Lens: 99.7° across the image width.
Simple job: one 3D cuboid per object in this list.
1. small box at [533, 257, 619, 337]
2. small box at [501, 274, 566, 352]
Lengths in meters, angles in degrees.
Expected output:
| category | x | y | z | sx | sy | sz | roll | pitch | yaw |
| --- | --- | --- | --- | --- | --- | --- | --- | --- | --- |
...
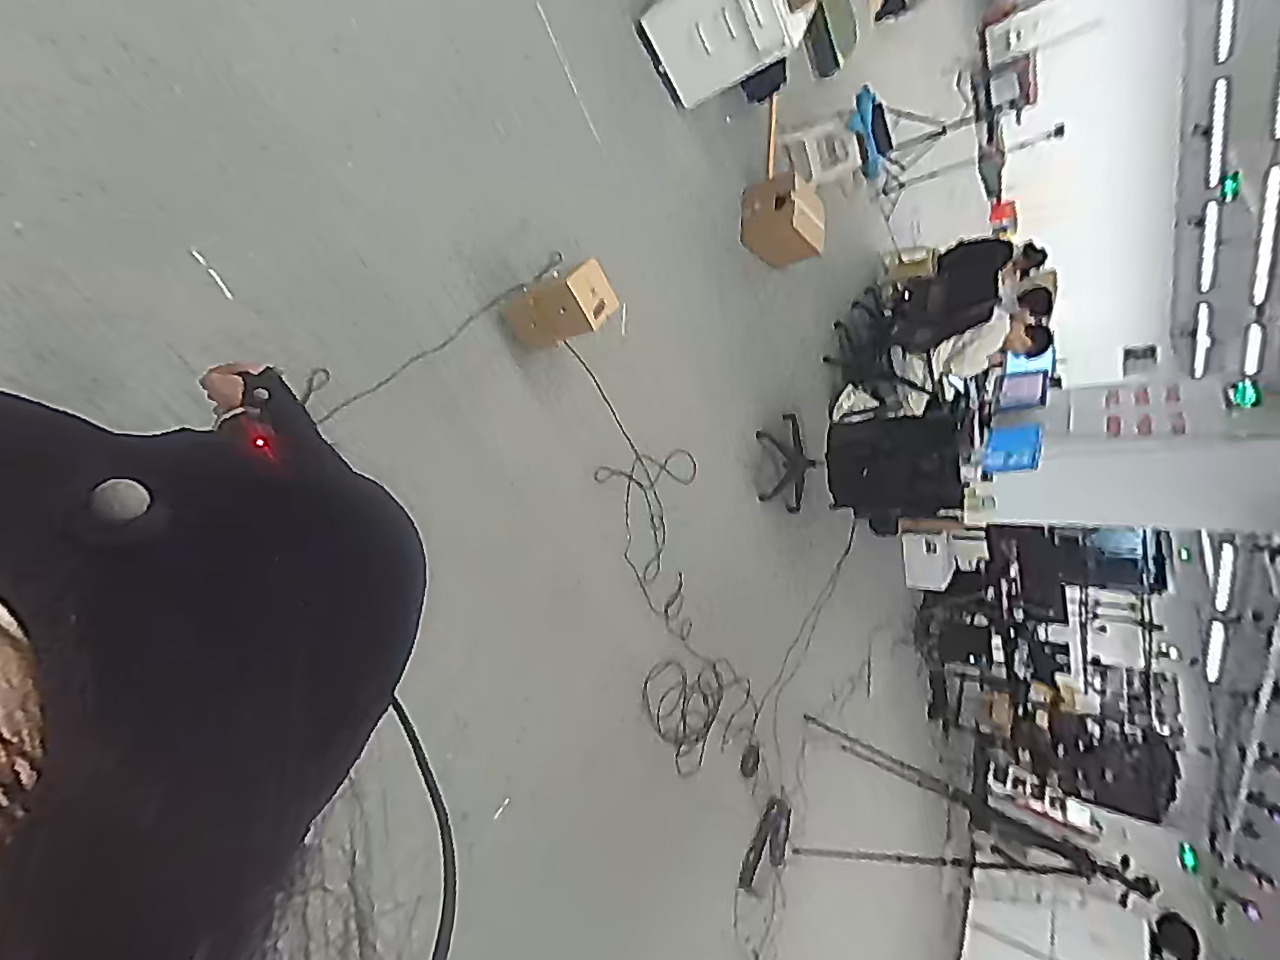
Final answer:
| category | x | y | z | sx | sy | sz | roll | pitch | yaw |
| --- | --- | --- | --- | --- | --- | --- | --- | --- | --- |
| small box | -0.206 | -0.578 | 1.732 | 0.179 | 0.176 | 0.168 | 57 | 49 | -30 |
| small box | -0.336 | -0.559 | 1.831 | 0.179 | 0.176 | 0.168 | 55 | 51 | -33 |
